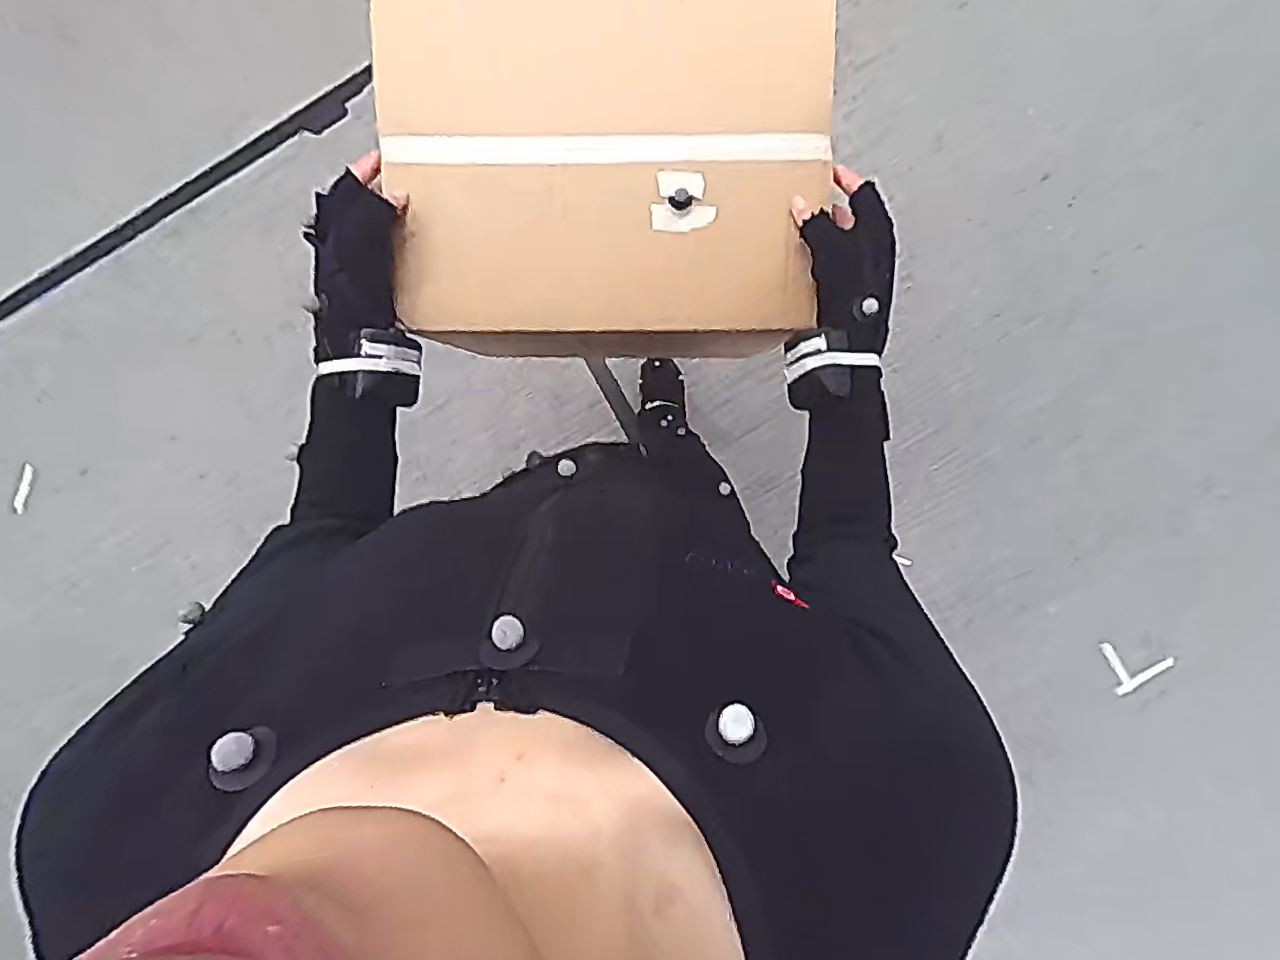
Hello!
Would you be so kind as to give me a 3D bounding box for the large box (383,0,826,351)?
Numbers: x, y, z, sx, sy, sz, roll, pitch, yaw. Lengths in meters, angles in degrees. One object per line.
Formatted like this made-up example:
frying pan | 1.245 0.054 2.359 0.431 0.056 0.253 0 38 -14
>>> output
large box | -0.032 -0.332 0.645 0.408 0.320 0.320 -1 98 -1
